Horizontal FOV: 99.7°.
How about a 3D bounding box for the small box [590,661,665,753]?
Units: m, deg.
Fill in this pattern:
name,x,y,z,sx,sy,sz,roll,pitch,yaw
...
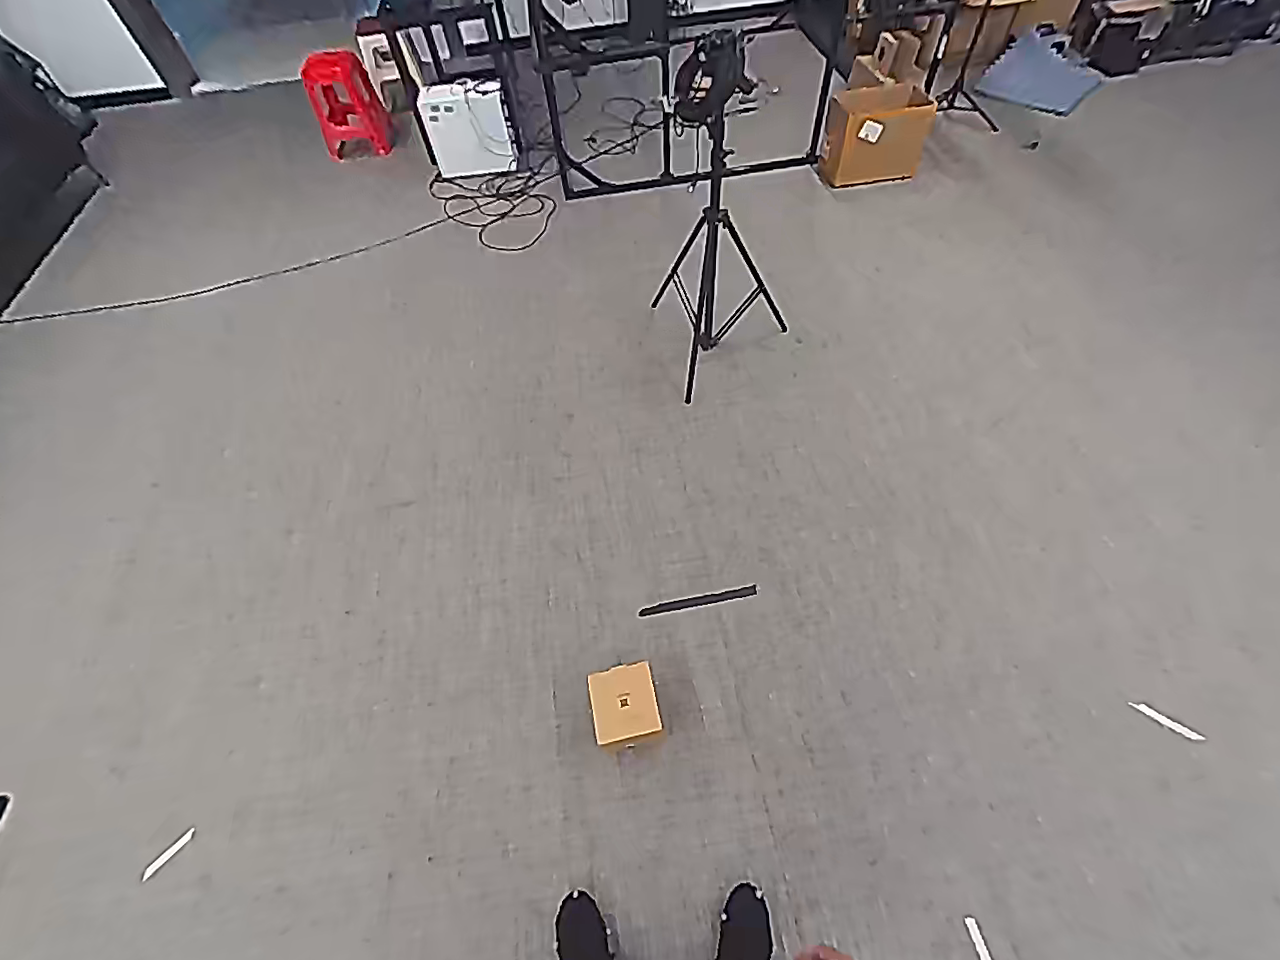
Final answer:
name,x,y,z,sx,sy,sz,roll,pitch,yaw
small box,-0.032,0.606,1.436,0.168,0.176,0.179,-12,56,-3
